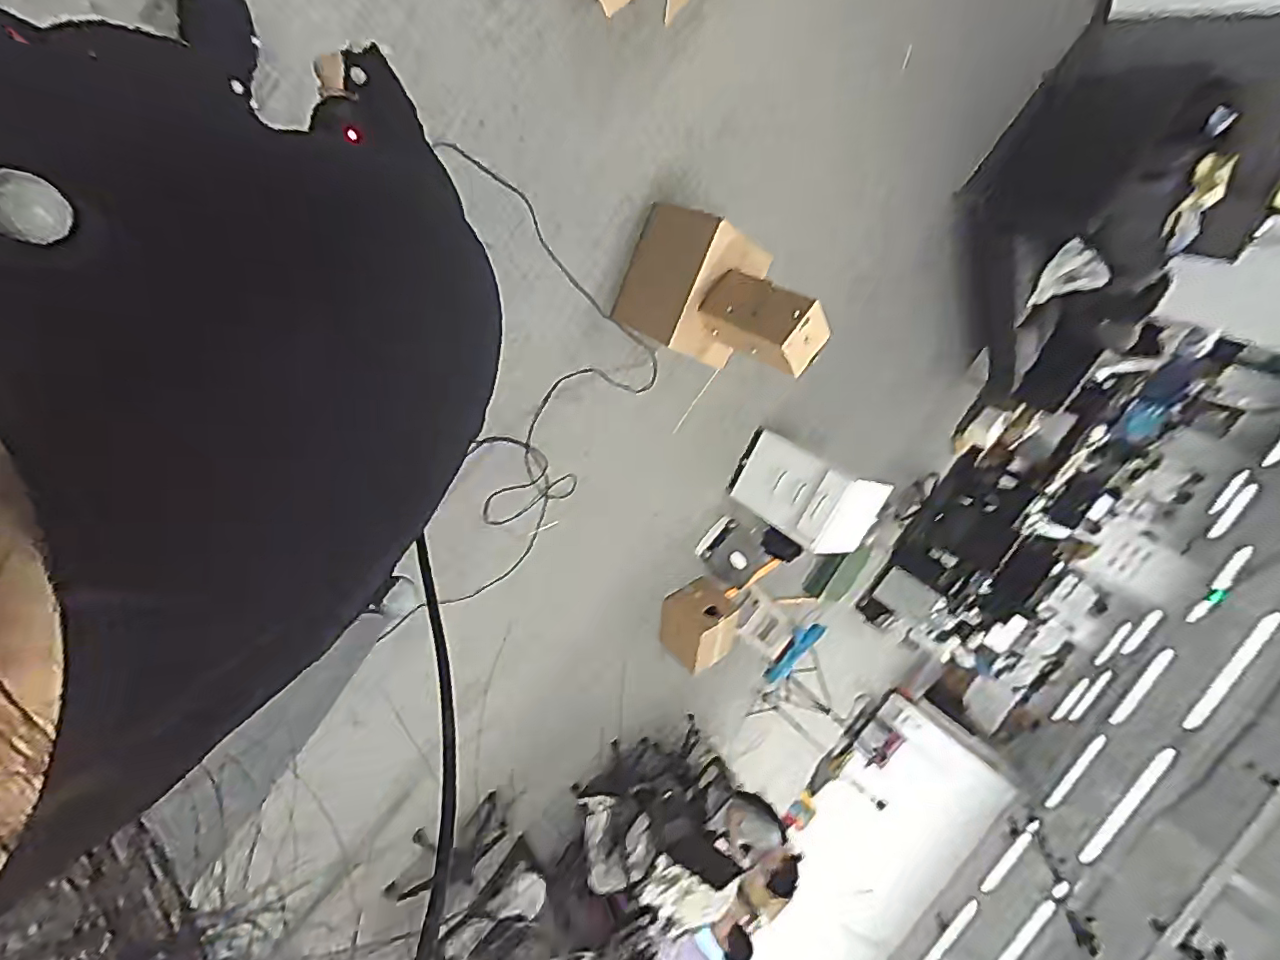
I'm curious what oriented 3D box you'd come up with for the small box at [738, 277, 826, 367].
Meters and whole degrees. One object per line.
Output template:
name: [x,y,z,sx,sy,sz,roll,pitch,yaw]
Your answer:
small box: [0.420,-0.472,1.601,0.168,0.176,0.179,-54,144,0]
